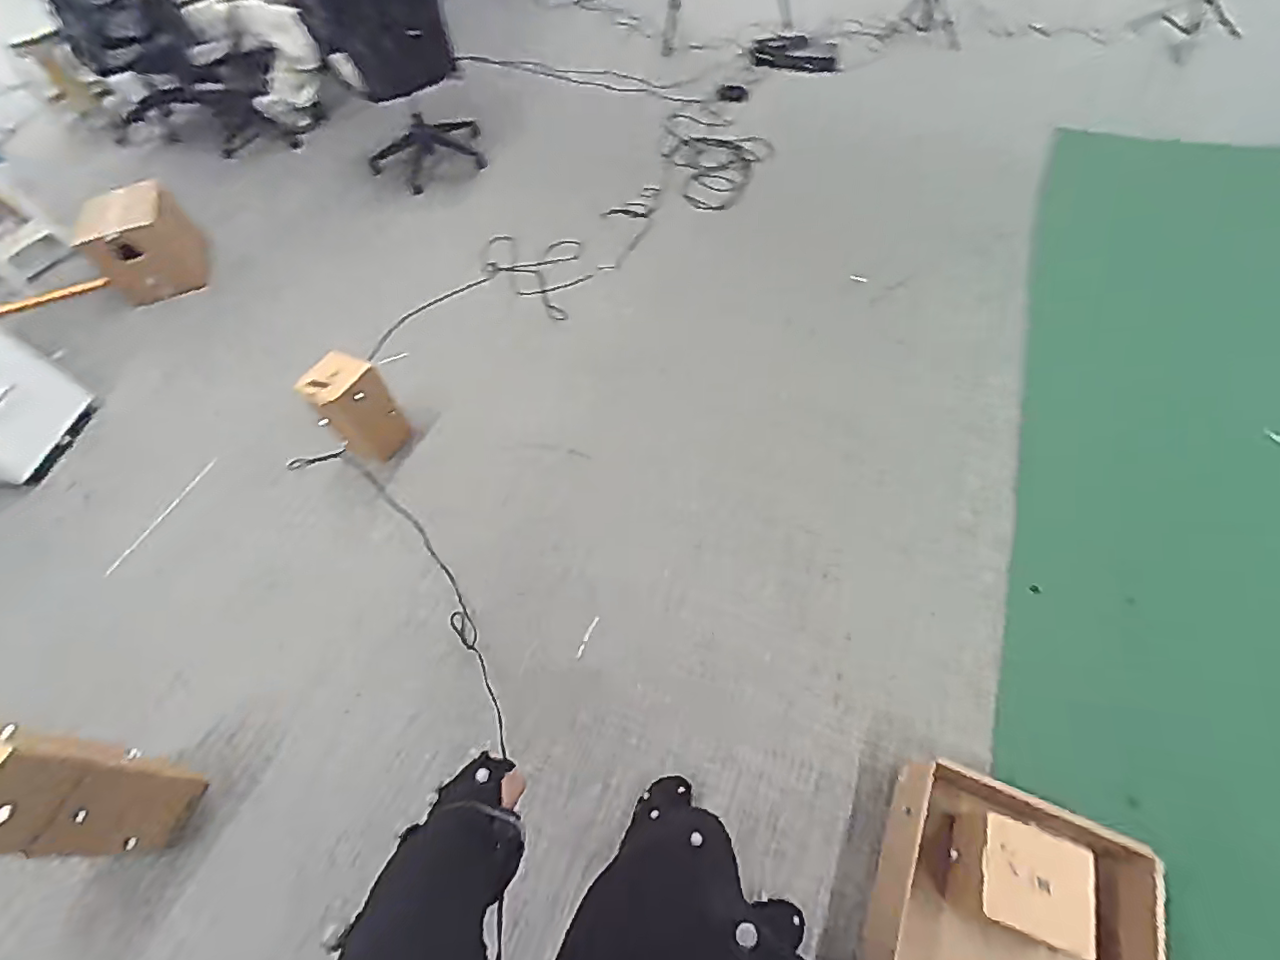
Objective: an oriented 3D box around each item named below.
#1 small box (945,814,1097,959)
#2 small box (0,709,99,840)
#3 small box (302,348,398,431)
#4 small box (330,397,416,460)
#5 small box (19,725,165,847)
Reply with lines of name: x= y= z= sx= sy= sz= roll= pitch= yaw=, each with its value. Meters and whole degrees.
small box: x=0.703 y=0.748 z=1.008 sx=0.179 sy=0.176 sz=0.168 roll=17 pitch=61 yaw=17
small box: x=-1.206 y=0.553 z=1.017 sx=0.168 sy=0.176 sz=0.179 roll=16 pitch=61 yaw=15
small box: x=-0.907 y=-0.283 z=1.712 sx=0.168 sy=0.176 sz=0.179 roll=20 pitch=60 yaw=17
small box: x=-0.904 y=-0.196 z=1.852 sx=0.168 sy=0.176 sz=0.179 roll=19 pitch=60 yaw=17
small box: x=-1.187 y=0.649 z=1.150 sx=0.168 sy=0.176 sz=0.179 roll=17 pitch=59 yaw=15
